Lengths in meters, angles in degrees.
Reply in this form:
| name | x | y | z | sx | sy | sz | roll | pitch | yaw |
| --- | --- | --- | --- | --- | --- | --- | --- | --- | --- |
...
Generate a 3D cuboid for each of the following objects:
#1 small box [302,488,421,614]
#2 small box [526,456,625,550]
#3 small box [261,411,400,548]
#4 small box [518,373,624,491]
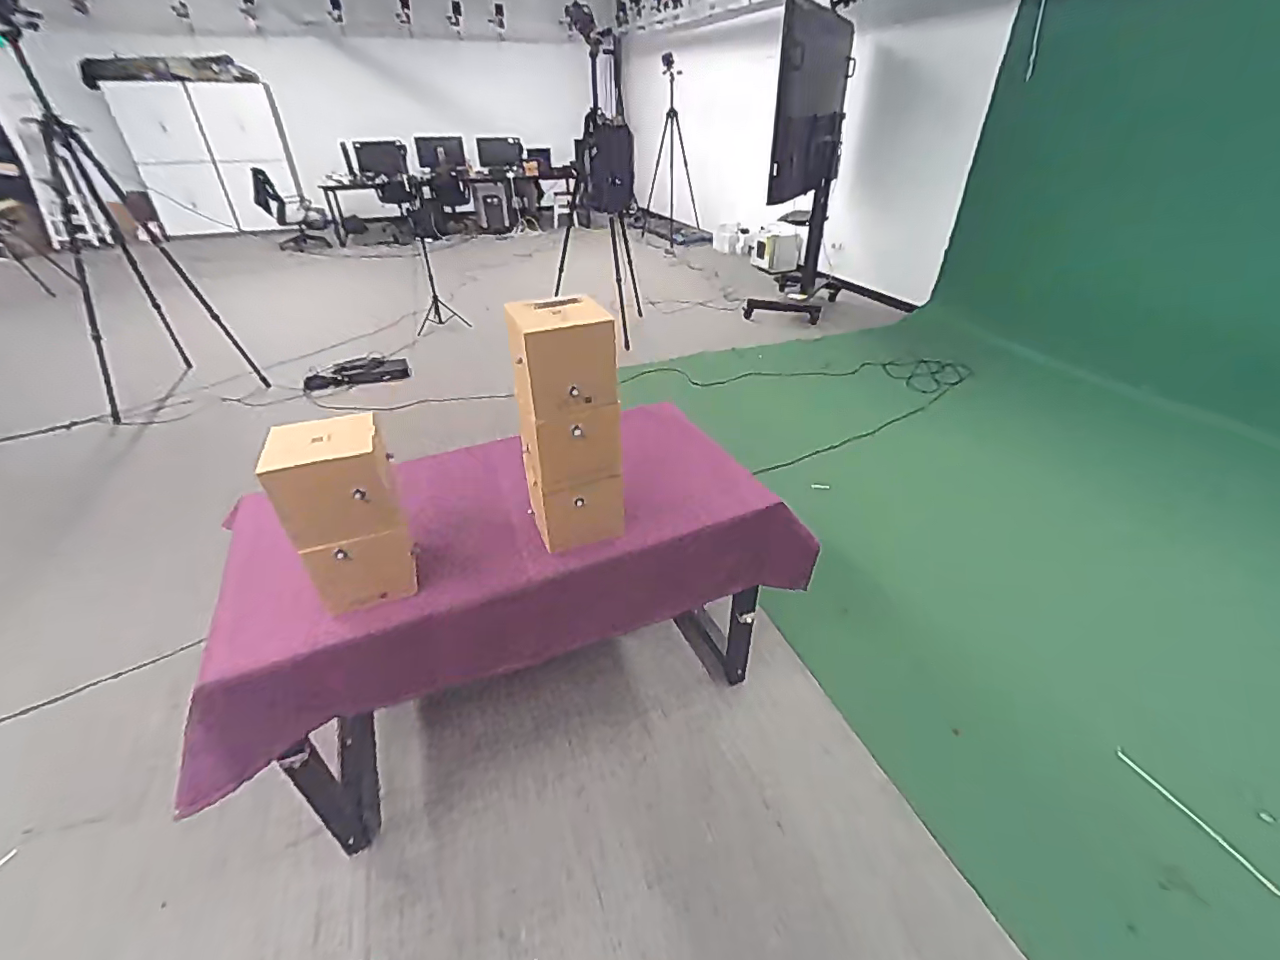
| name | x | y | z | sx | sy | sz | roll | pitch | yaw |
| --- | --- | --- | --- | --- | --- | --- | --- | --- | --- |
| small box | -0.545 | 0.133 | 1.078 | 0.168 | 0.176 | 0.179 | -14 | 36 | -17 |
| small box | -0.142 | 0.034 | 1.212 | 0.179 | 0.176 | 0.168 | -14 | 37 | -19 |
| small box | -0.547 | -0.003 | 0.986 | 0.179 | 0.176 | 0.168 | -13 | 36 | -16 |
| small box | -0.141 | -0.101 | 1.121 | 0.179 | 0.176 | 0.168 | -15 | 37 | -18 |
